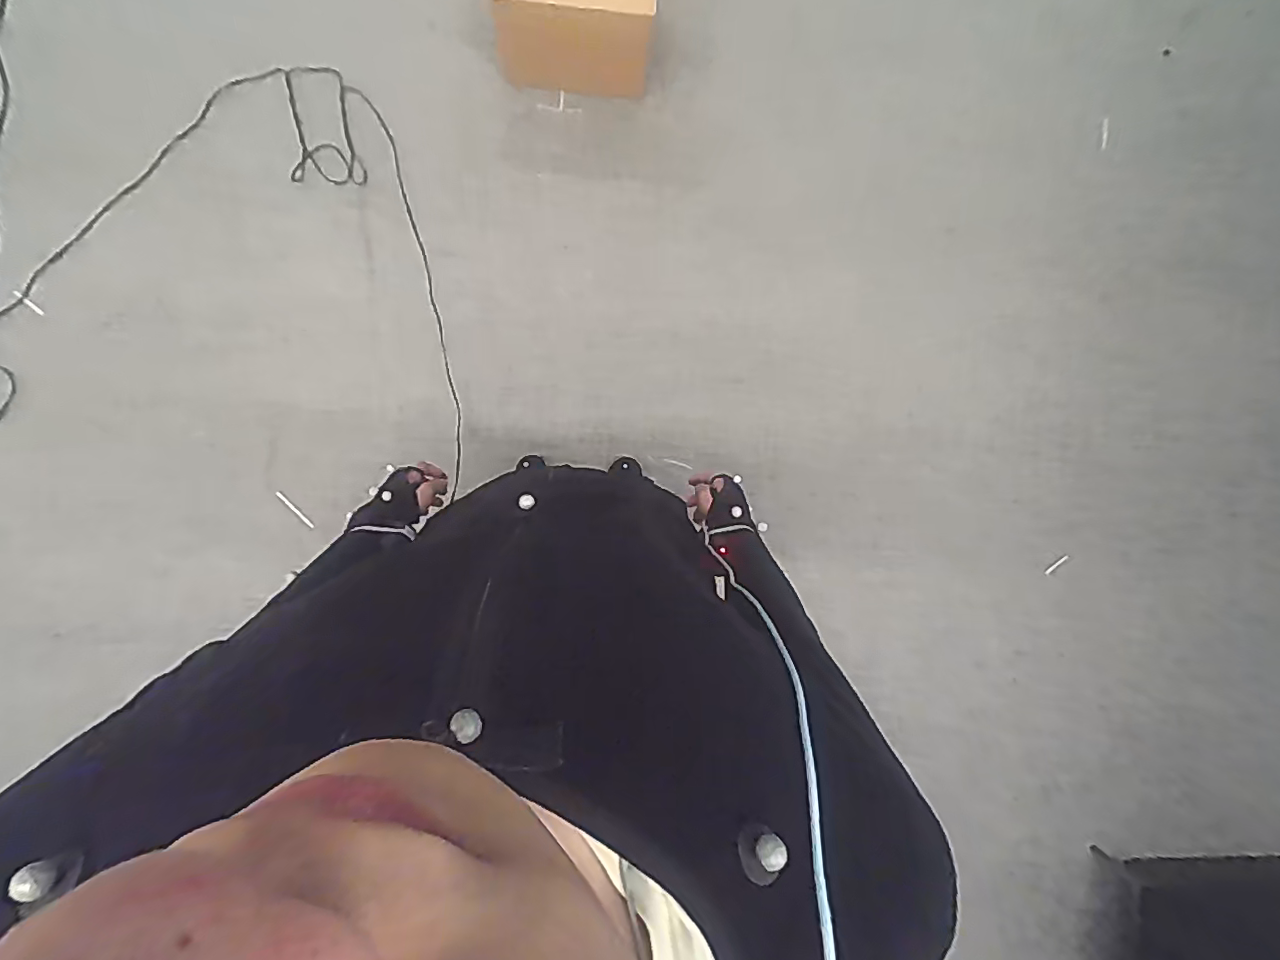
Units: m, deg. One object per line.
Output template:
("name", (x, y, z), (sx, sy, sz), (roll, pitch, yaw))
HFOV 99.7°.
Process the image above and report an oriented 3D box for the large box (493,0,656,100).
("large box", (-0.174, -1.289, 1.458), (0.408, 0.320, 0.320), (1, 92, -6))
